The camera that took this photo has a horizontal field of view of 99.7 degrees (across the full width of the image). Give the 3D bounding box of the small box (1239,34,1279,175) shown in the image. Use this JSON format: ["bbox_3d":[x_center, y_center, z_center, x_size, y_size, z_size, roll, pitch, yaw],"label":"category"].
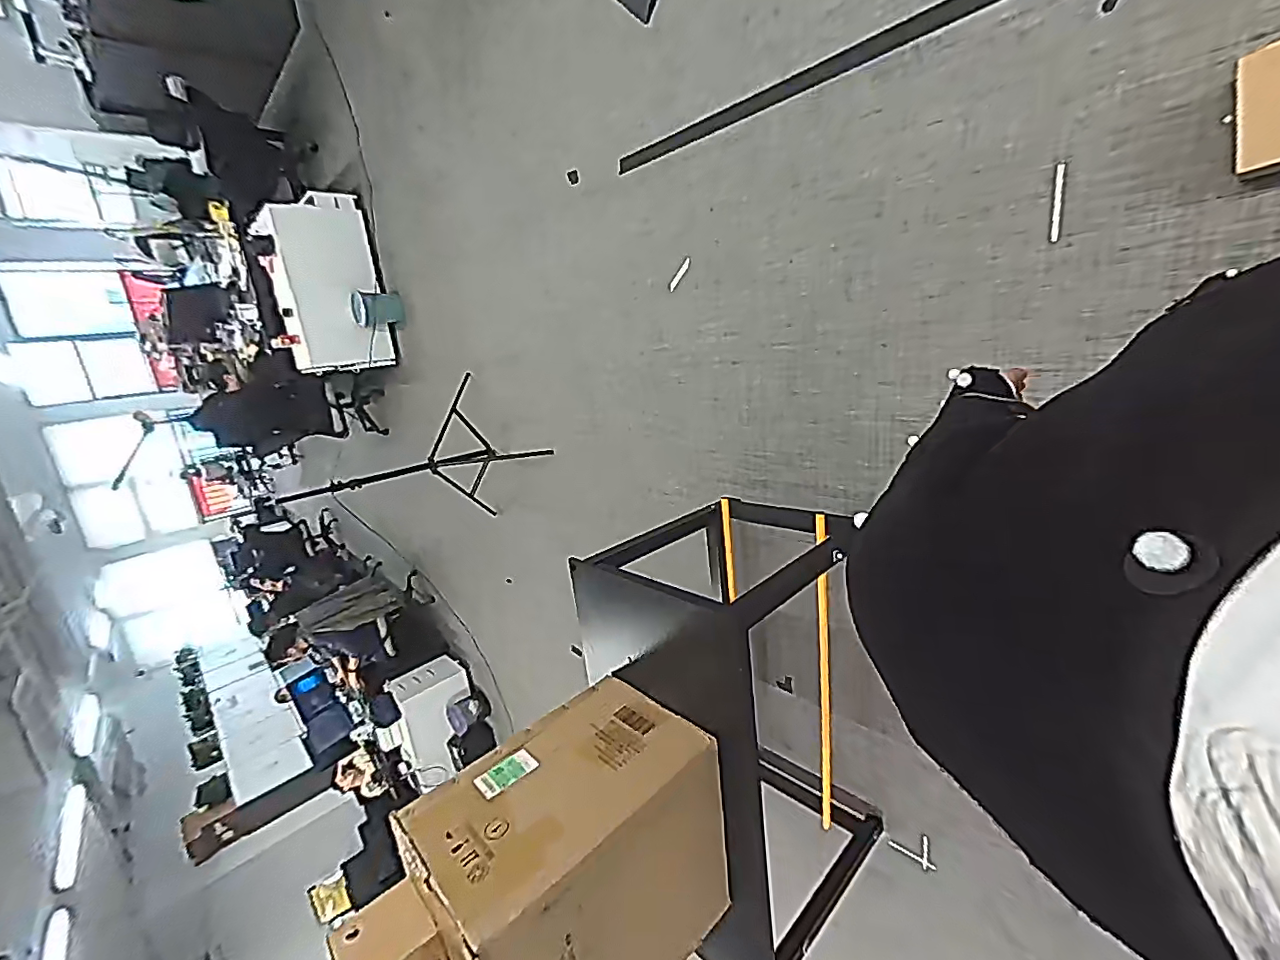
[{"bbox_3d":[1.043,-0.595,0.828,0.168,0.176,0.179,0,107,49],"label":"small box"}]
